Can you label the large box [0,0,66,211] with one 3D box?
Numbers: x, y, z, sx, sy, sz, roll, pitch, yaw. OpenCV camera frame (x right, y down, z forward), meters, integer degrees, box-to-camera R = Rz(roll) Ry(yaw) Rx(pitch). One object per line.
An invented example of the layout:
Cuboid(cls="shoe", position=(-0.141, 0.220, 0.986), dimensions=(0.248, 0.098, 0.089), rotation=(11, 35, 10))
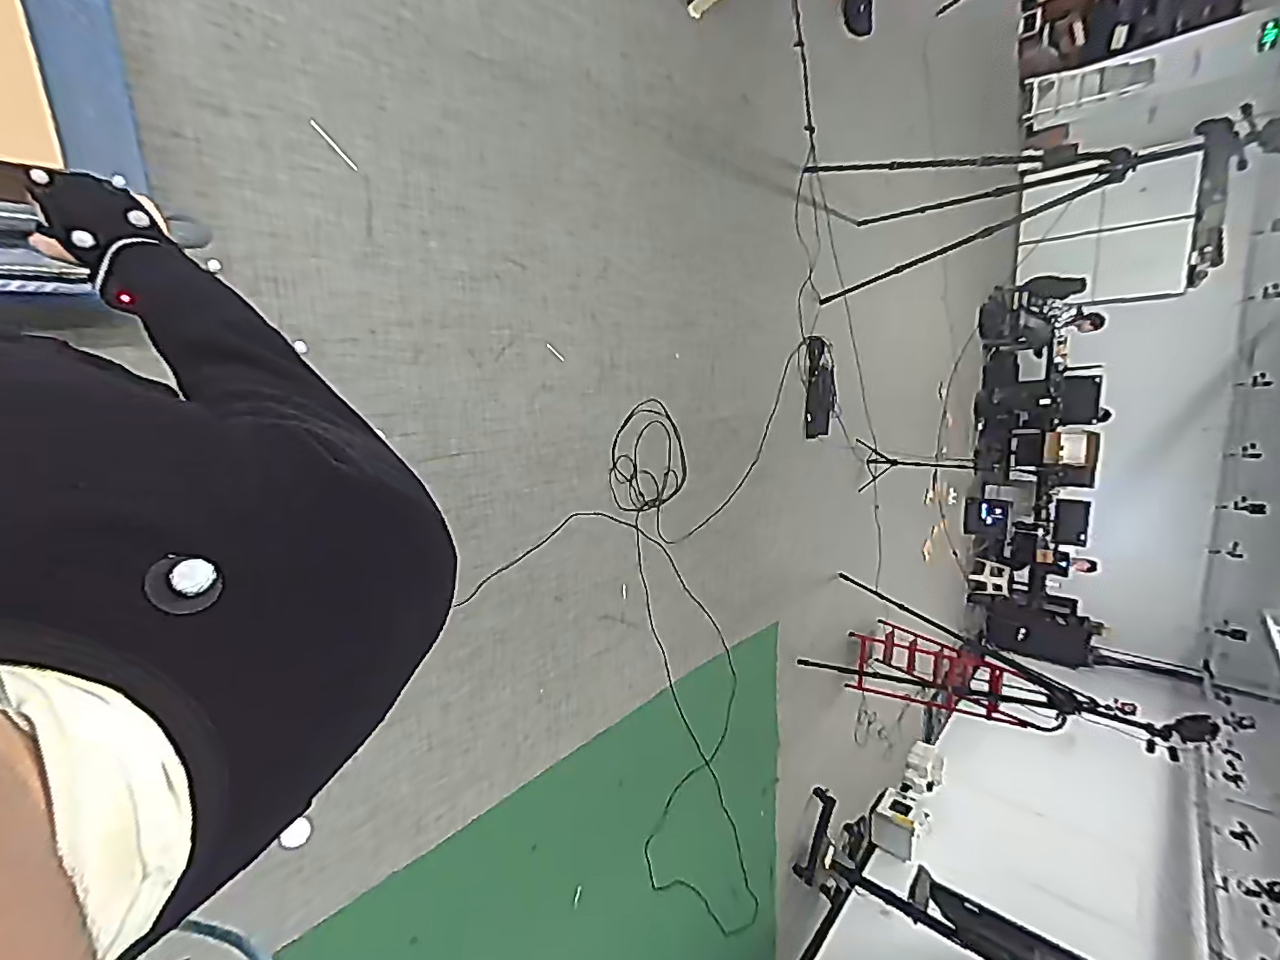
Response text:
Cuboid(cls="large box", position=(-1.082, -0.638, 0.753), dimensions=(0.320, 0.320, 0.408), rotation=(-17, 107, -44))
